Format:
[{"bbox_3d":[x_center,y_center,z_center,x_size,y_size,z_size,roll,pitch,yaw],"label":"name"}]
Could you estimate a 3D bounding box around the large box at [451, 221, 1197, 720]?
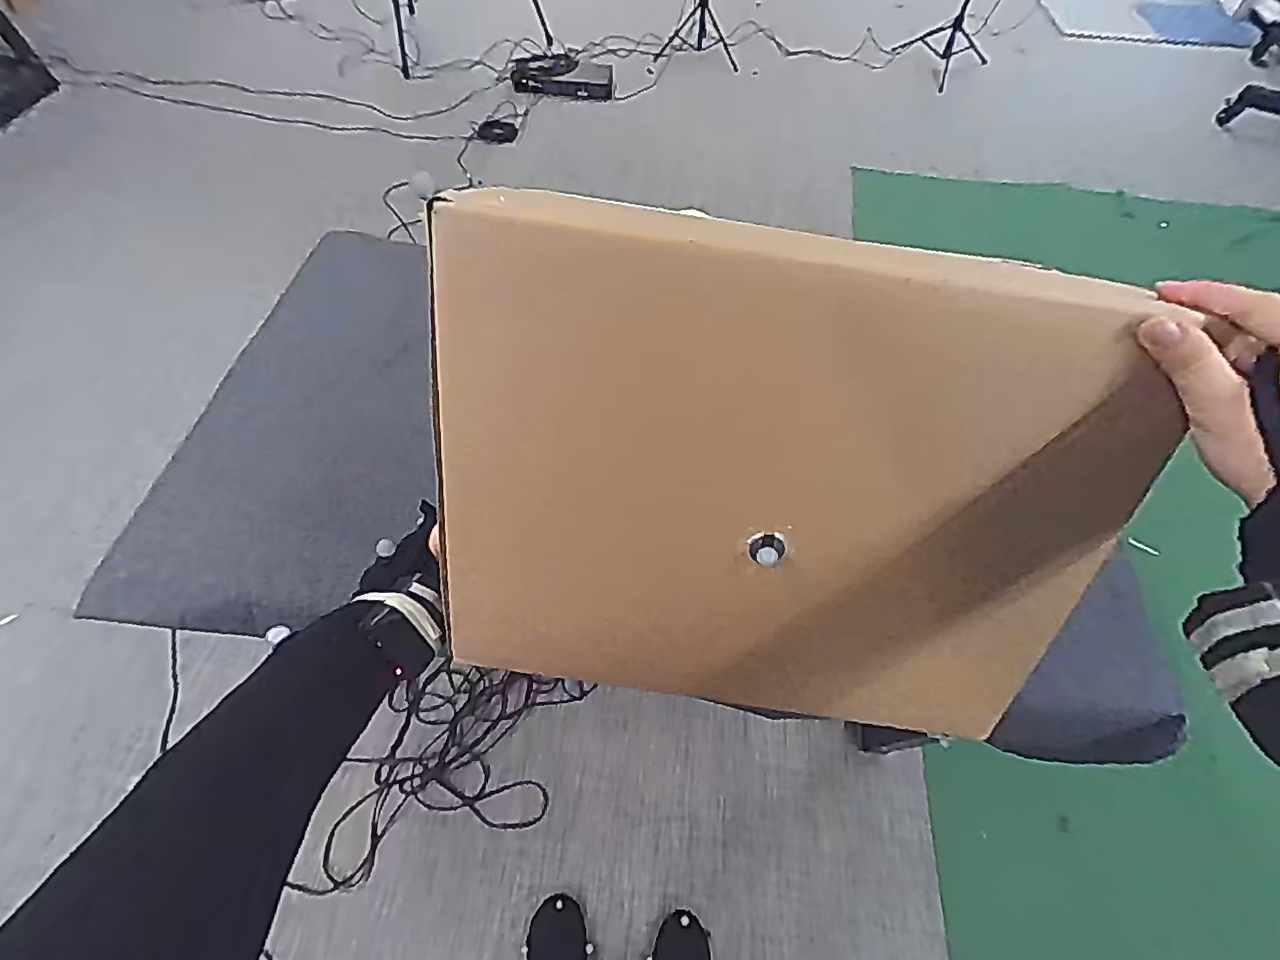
[{"bbox_3d":[0.091,-0.030,0.479,0.408,0.320,0.320,7,27,-1],"label":"large box"}]
